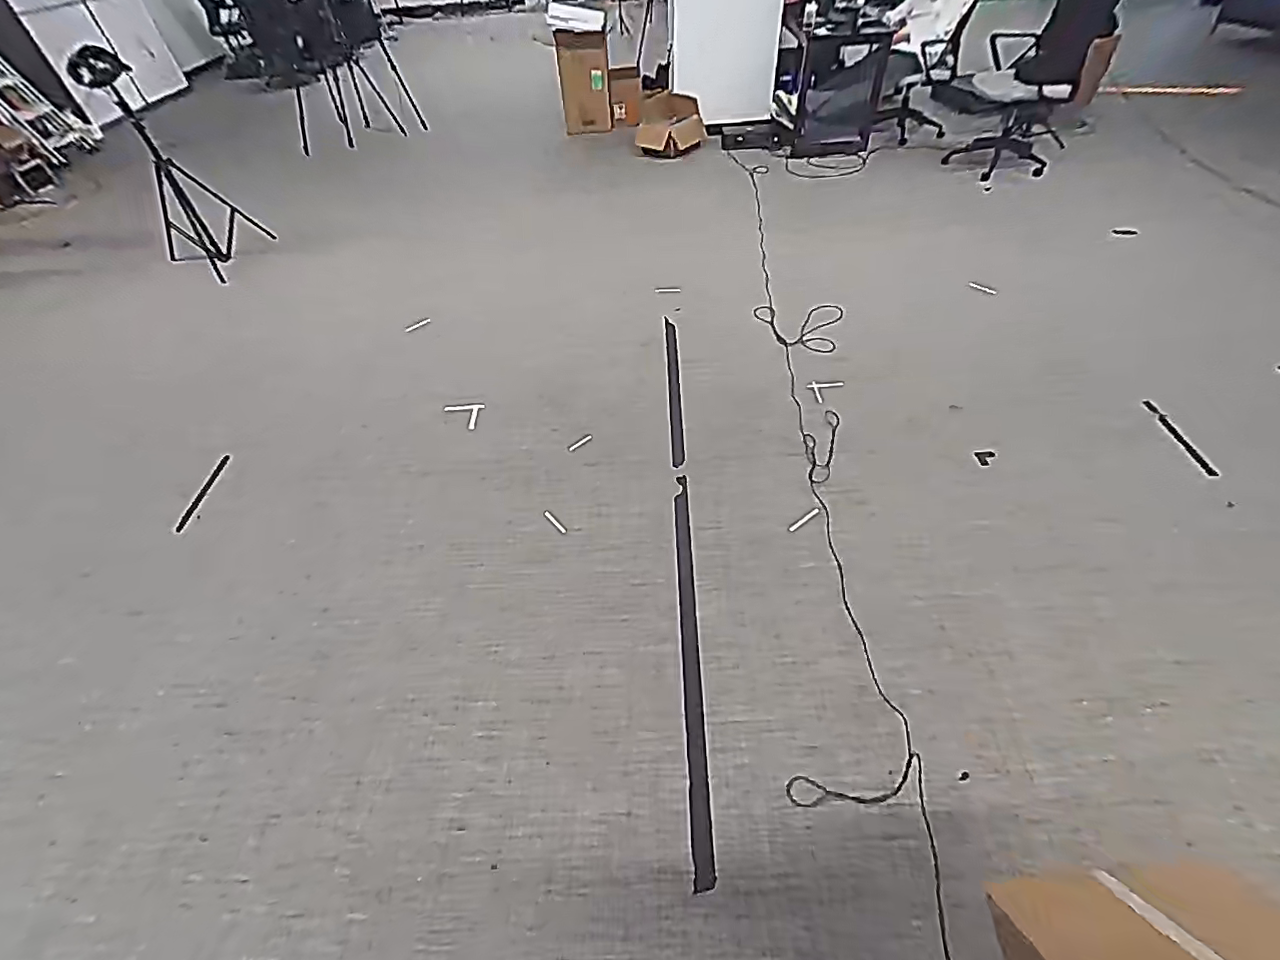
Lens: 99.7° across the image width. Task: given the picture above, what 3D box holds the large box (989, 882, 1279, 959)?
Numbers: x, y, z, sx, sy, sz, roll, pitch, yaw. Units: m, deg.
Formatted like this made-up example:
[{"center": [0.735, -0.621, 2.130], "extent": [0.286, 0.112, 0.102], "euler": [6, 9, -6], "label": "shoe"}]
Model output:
[{"center": [0.652, 0.695, 0.554], "extent": [0.320, 0.408, 0.320], "euler": [-13, 76, 7], "label": "large box"}]
